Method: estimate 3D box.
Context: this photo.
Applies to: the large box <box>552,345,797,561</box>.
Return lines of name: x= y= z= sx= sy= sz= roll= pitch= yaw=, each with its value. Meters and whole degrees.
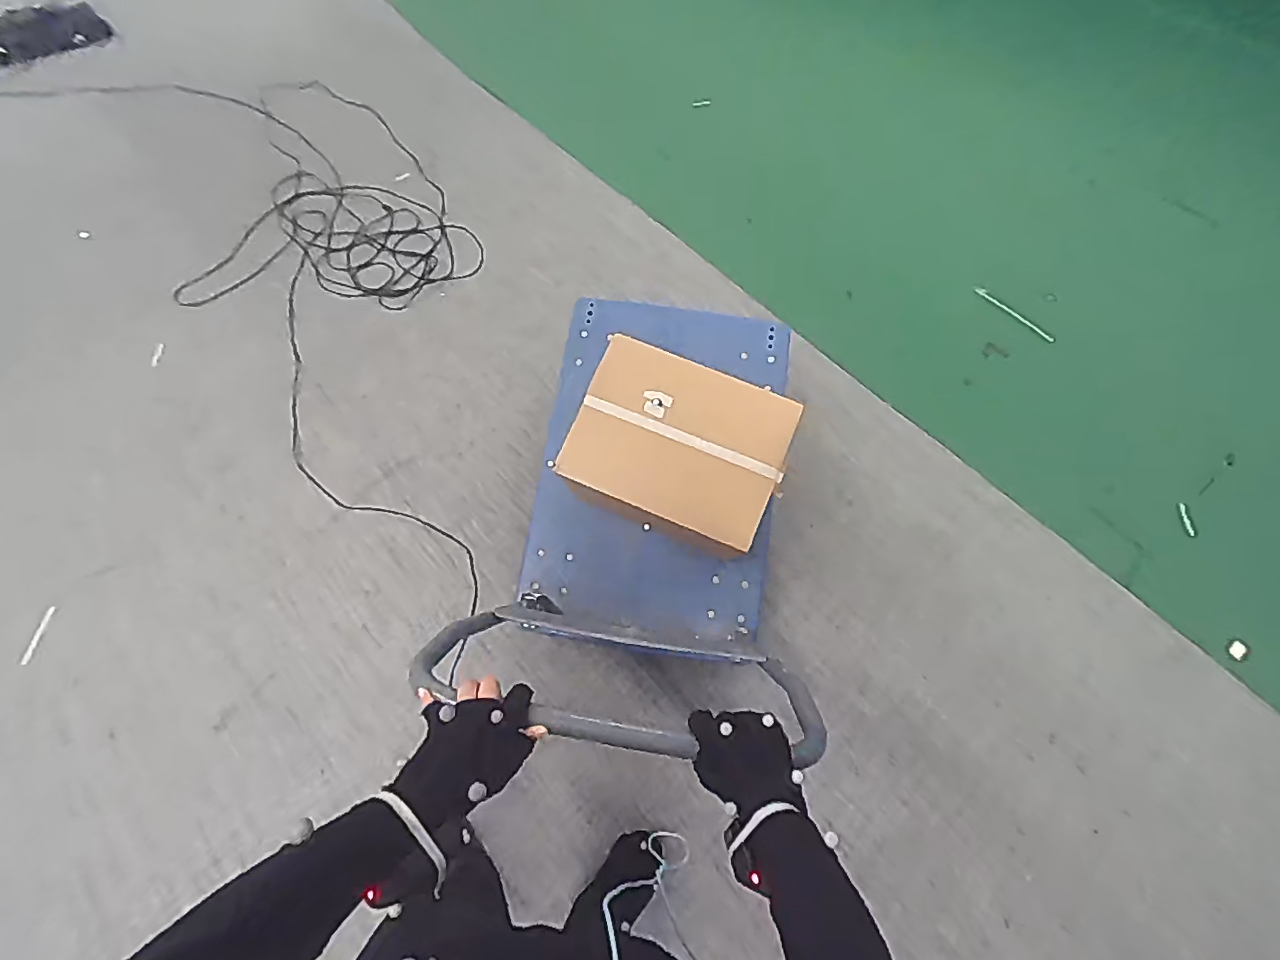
large box: x=0.076 y=-0.038 z=1.191 sx=0.408 sy=0.320 sz=0.320 roll=22 pitch=80 yaw=7
